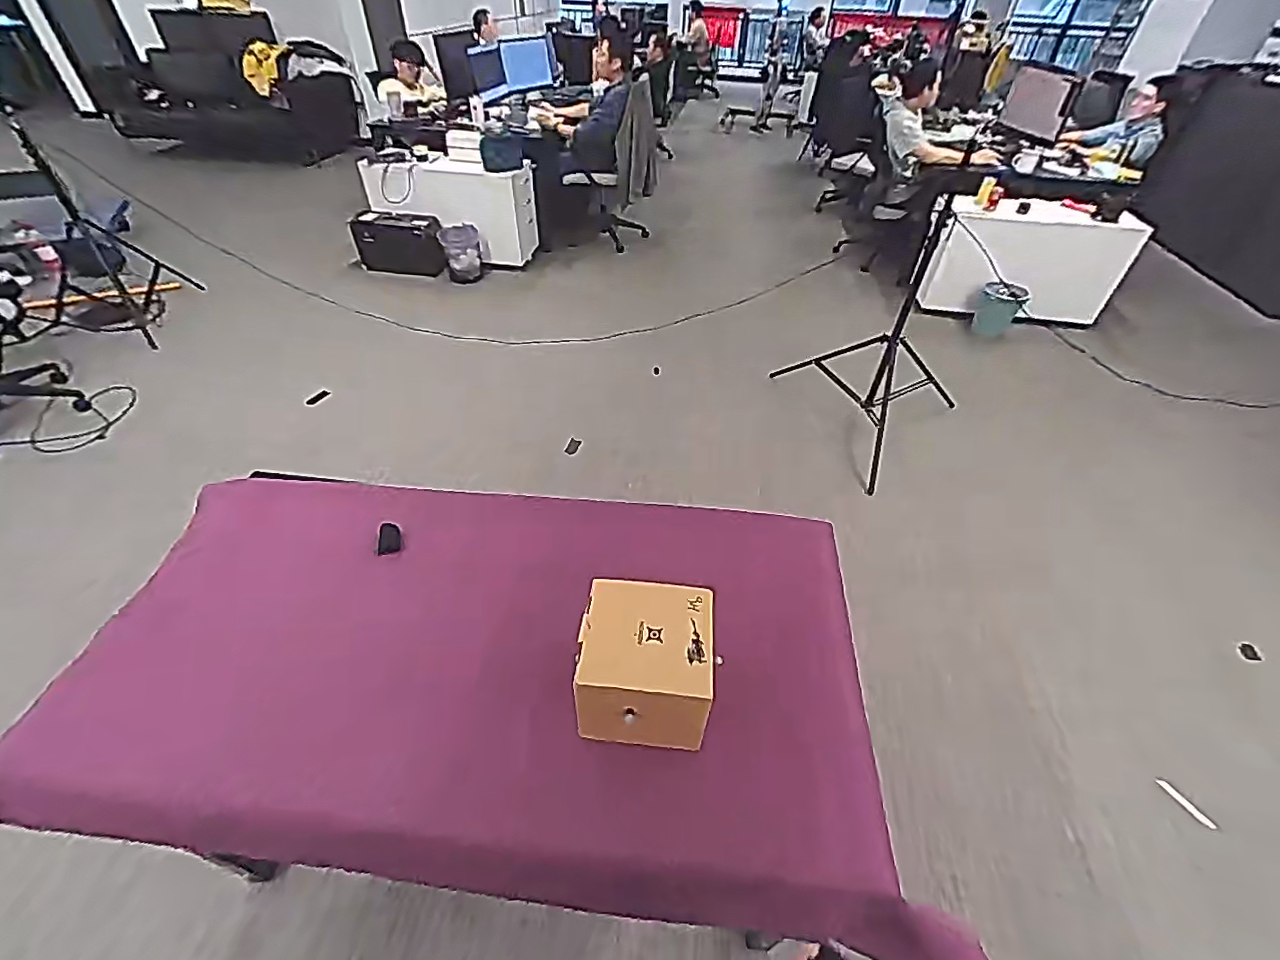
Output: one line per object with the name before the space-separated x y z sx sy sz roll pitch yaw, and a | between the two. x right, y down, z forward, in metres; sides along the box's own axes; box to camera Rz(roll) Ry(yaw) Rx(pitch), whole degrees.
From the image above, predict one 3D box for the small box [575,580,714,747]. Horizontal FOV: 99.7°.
small box | 0.012 0.265 0.779 0.179 0.176 0.168 4 43 4
